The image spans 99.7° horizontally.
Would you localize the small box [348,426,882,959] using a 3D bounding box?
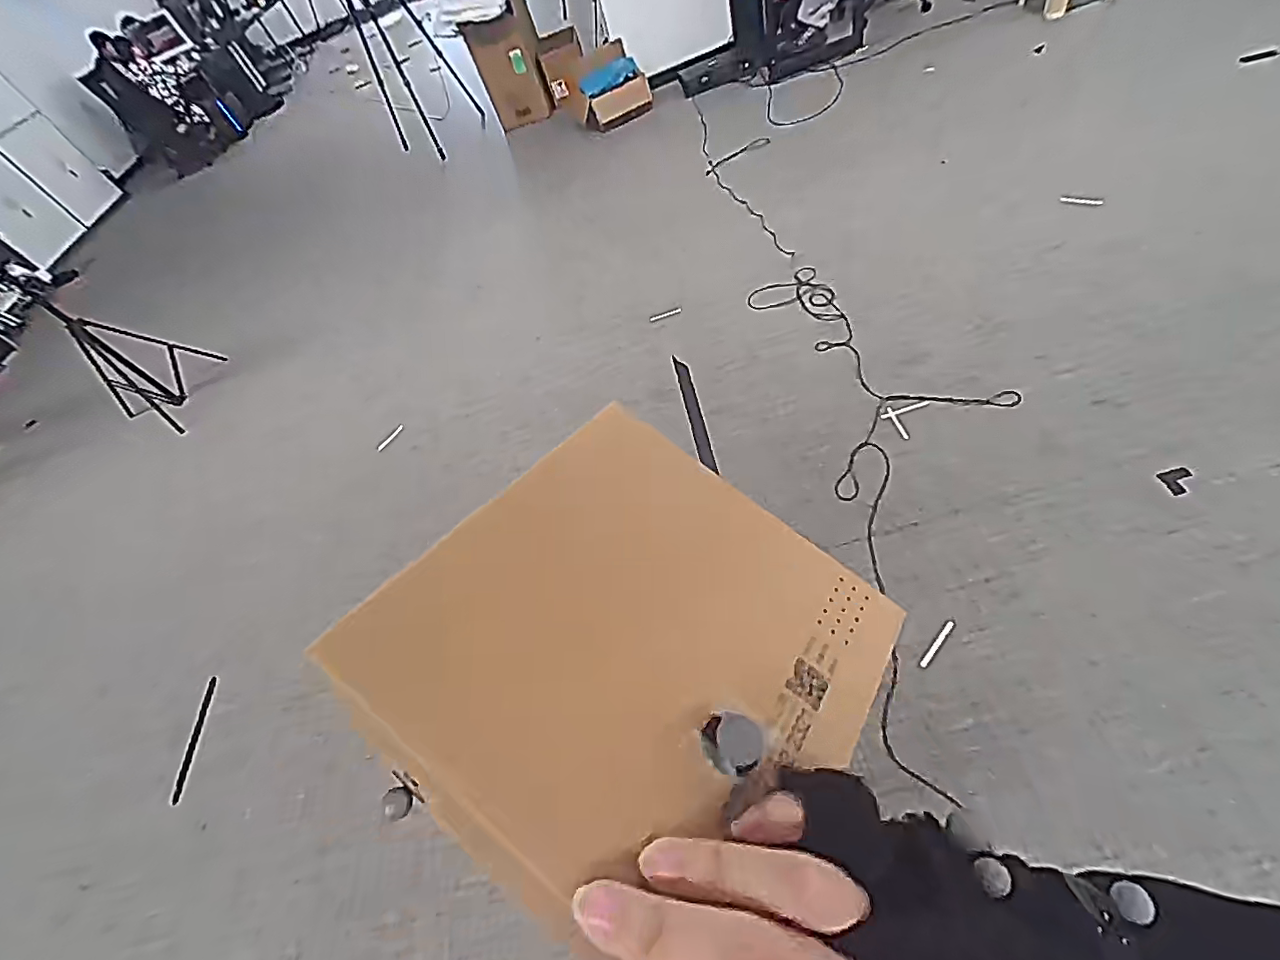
[{"bbox_3d":[-0.012,0.113,0.285,0.176,0.179,0.168,36,51,11],"label":"small box"}]
